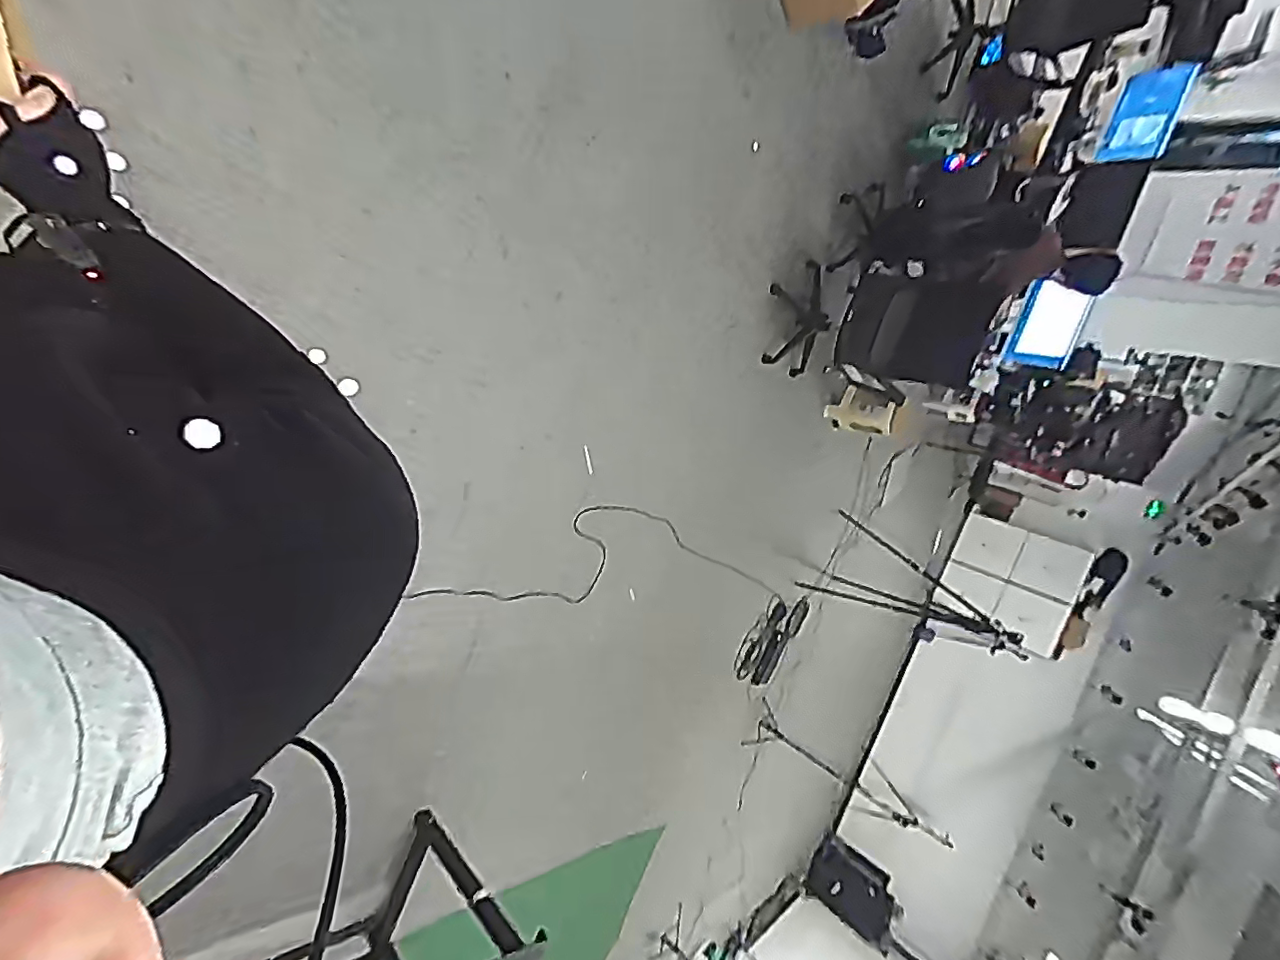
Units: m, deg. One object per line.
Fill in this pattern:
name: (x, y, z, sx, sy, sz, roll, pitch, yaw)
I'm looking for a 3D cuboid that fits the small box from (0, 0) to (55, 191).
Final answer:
small box: (-0.624, -0.357, 0.441, 0.168, 0.176, 0.179, -13, 106, -40)
